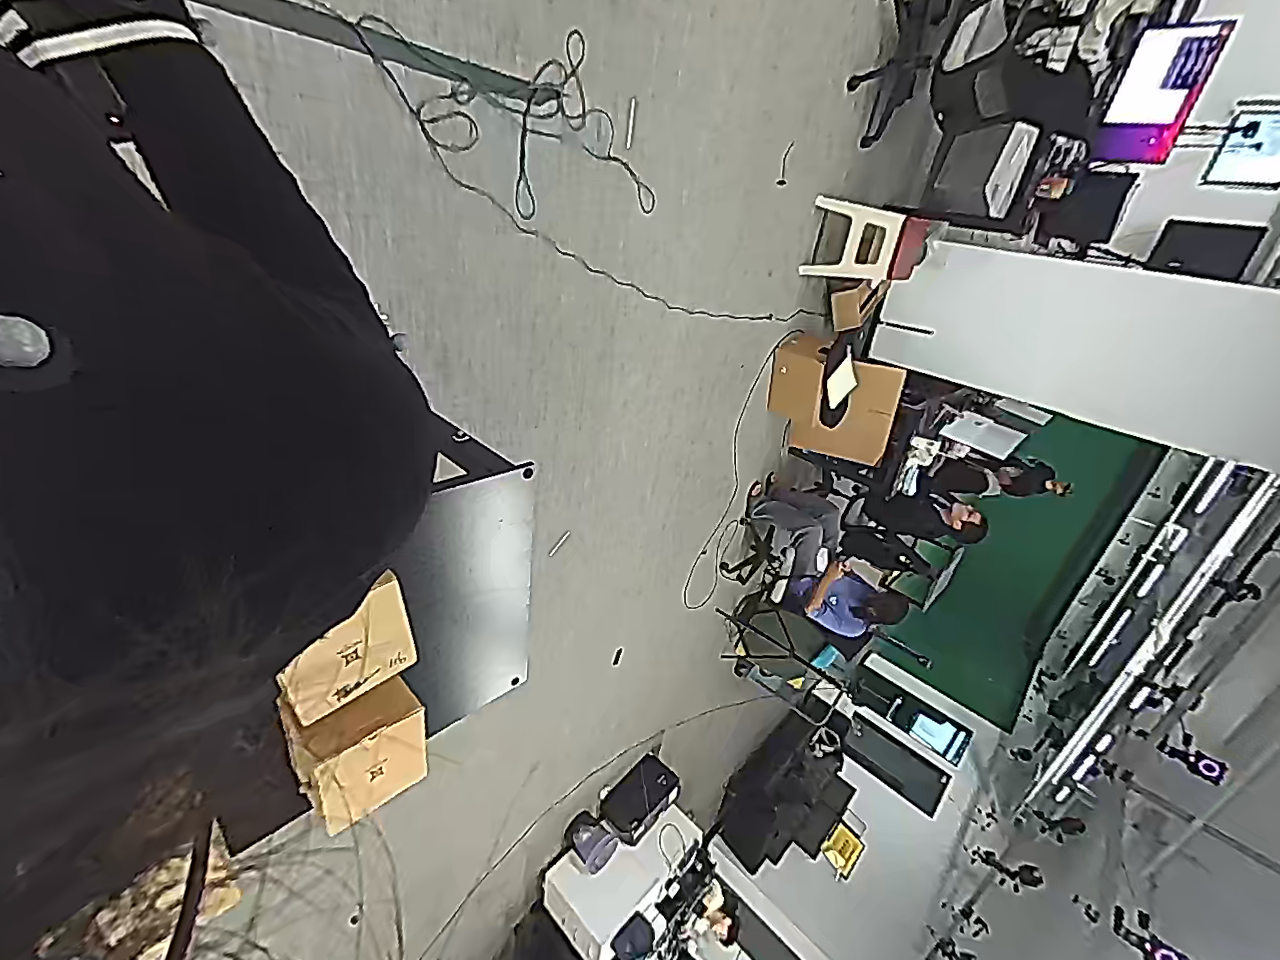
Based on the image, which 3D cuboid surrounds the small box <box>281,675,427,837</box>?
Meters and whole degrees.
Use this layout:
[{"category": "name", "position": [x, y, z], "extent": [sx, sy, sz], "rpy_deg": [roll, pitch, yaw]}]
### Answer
[{"category": "small box", "position": [-0.479, 0.438, 0.915], "extent": [0.168, 0.176, 0.179], "rpy_deg": [-20, 127, -44]}]

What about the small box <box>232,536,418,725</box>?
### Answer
[{"category": "small box", "position": [-0.453, 0.202, 0.784], "extent": [0.168, 0.176, 0.179], "rpy_deg": [-27, 132, -39]}]
